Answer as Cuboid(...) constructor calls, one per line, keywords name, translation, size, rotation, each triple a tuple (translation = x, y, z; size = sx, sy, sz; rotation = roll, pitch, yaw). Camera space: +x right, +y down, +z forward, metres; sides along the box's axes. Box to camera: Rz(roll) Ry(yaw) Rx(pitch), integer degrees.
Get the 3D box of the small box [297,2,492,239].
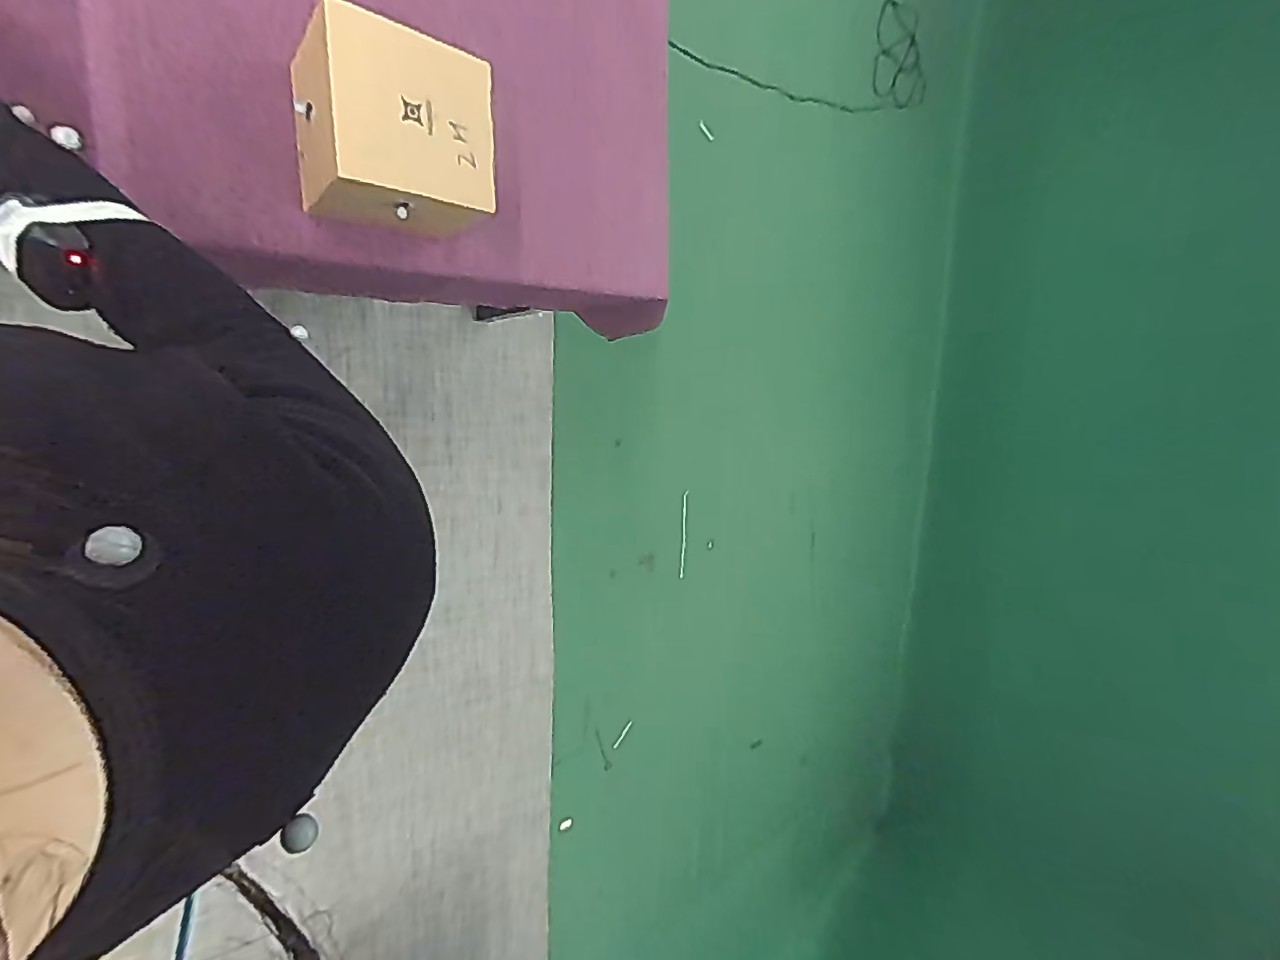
Cuboid(name="small box", translation=(-0.297, -0.403, 0.649), size=(0.179, 0.176, 0.168), rotation=(-8, 103, -41))
